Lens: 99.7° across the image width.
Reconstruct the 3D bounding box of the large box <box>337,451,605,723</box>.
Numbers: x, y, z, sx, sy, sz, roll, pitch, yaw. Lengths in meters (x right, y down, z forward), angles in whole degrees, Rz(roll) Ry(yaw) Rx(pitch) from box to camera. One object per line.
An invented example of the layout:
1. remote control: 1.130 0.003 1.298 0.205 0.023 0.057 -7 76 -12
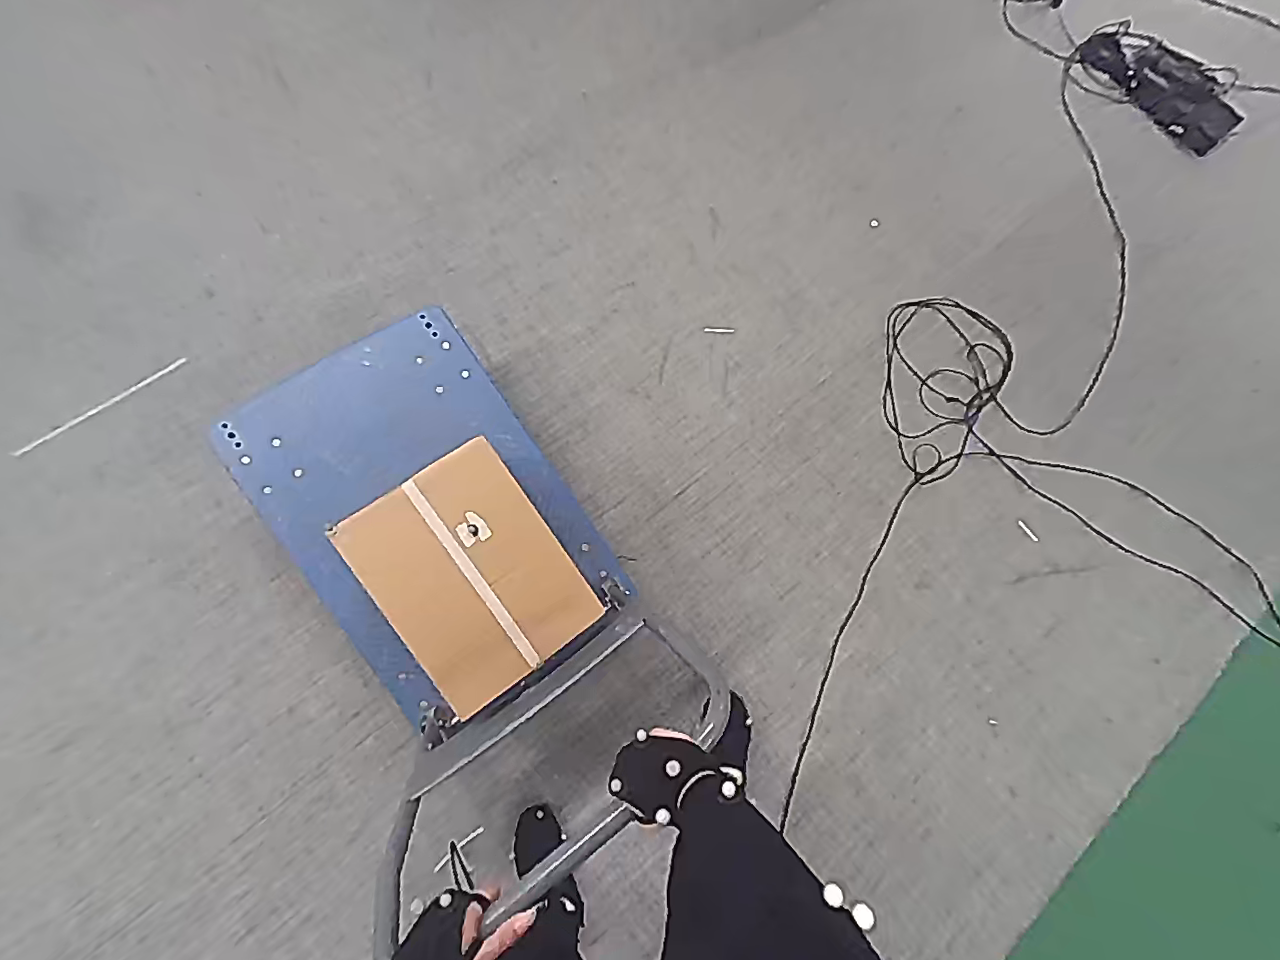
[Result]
1. large box: -0.323 0.203 1.127 0.320 0.320 0.408 -35 92 -13
